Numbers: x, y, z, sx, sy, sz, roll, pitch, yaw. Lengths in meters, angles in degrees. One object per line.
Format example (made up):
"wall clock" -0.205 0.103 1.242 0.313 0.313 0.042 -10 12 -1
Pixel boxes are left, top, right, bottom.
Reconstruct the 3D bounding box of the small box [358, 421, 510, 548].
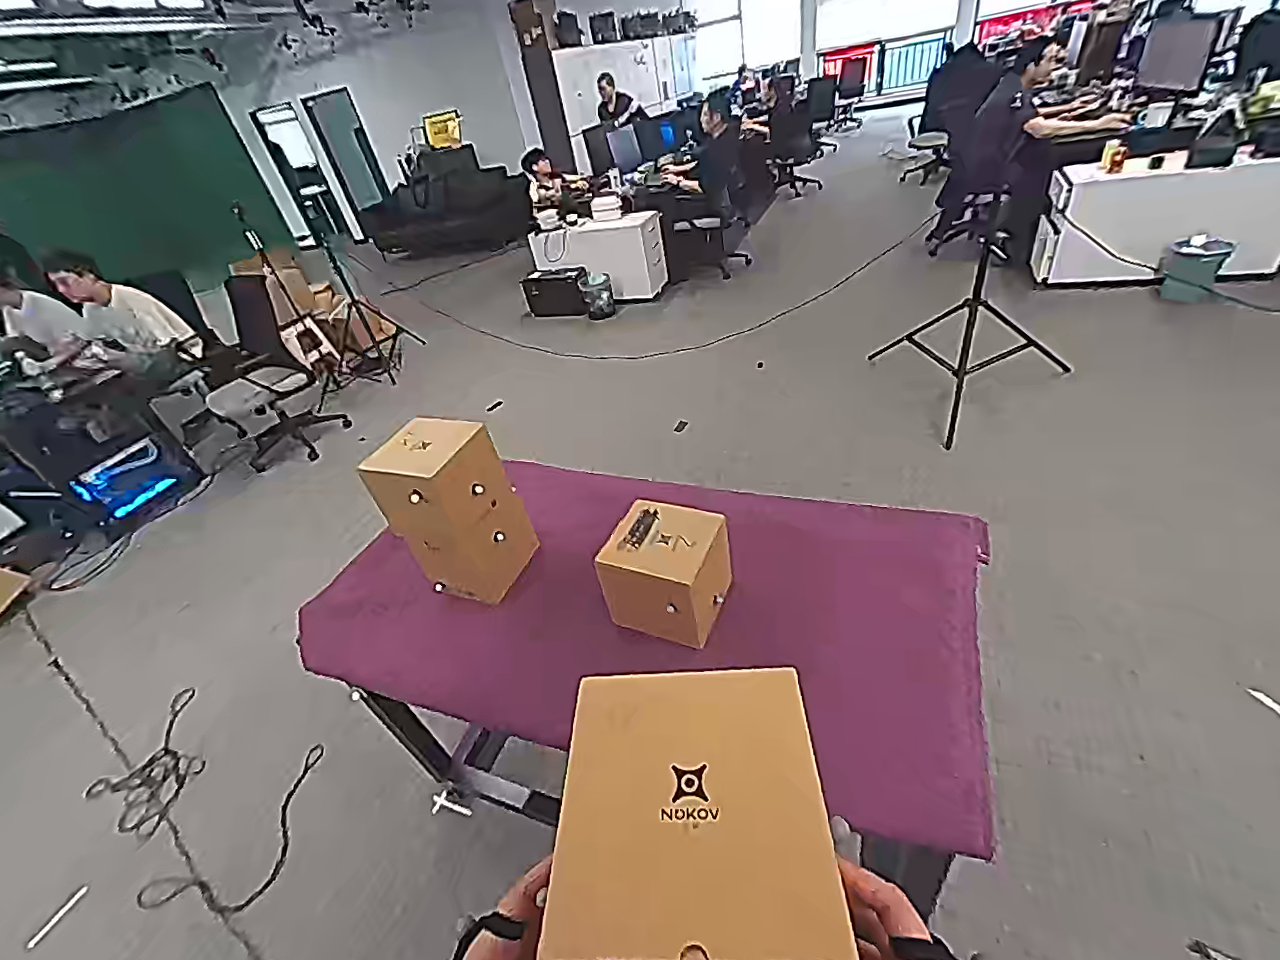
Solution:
"small box" -0.374 0.008 1.017 0.179 0.176 0.168 6 41 23

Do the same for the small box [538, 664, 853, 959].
"small box" 0.039 0.259 0.389 0.168 0.176 0.179 -5 34 6

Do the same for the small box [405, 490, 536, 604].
"small box" -0.339 0.131 1.121 0.168 0.176 0.179 6 40 23
